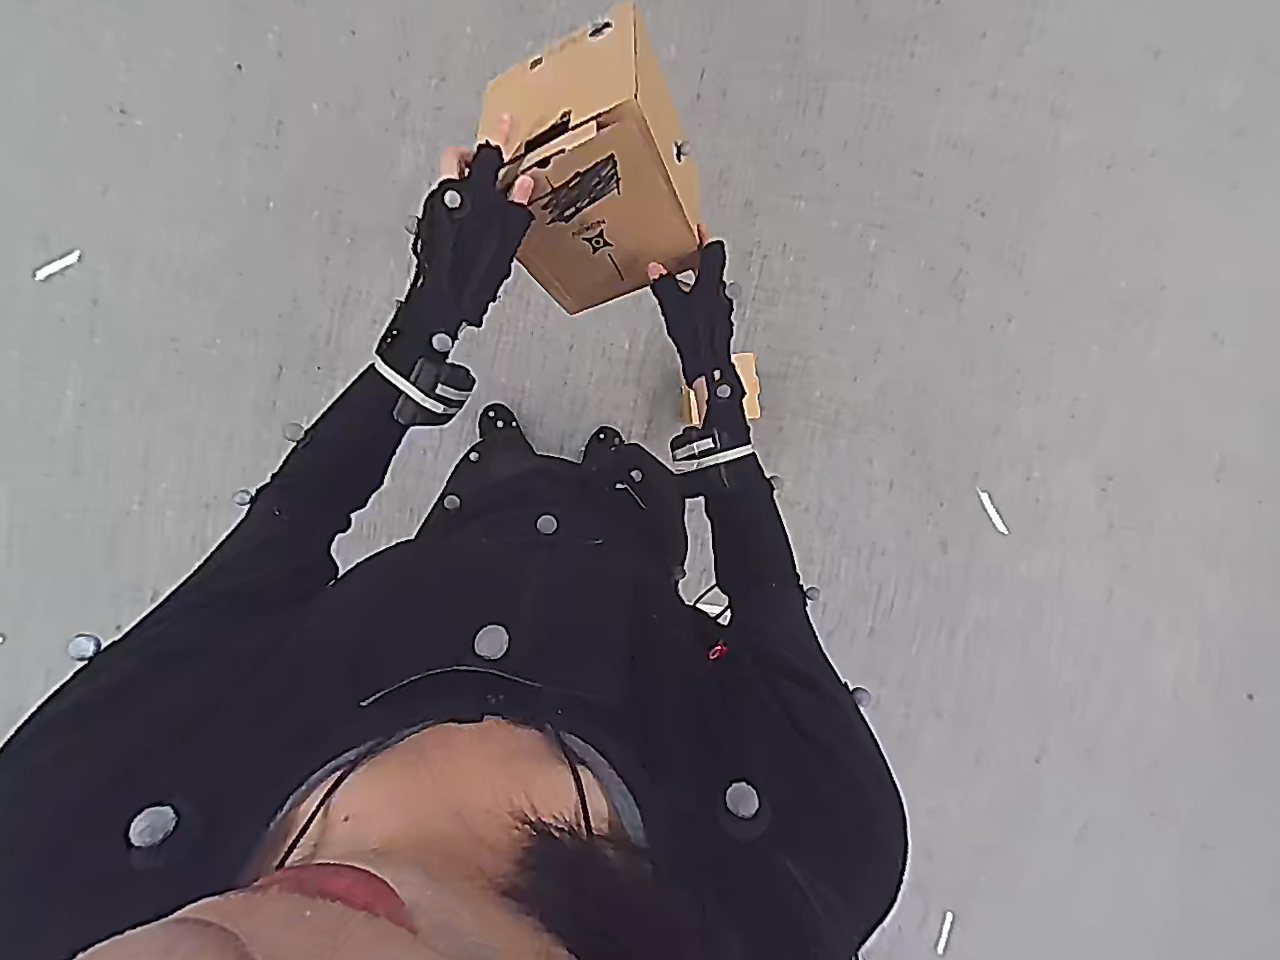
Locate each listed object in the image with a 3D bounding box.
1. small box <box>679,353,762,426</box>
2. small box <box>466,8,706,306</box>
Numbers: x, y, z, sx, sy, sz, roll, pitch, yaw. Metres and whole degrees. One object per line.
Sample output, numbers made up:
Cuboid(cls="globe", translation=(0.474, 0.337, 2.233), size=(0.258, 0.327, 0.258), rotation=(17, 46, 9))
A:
Cuboid(cls="small box", translation=(0.206, -0.231, 1.413), size=(0.179, 0.176, 0.168), rotation=(-7, 95, -2))
Cuboid(cls="small box", translation=(-0.045, -0.317, 0.540), size=(0.168, 0.179, 0.176), rotation=(-14, 59, 22))
